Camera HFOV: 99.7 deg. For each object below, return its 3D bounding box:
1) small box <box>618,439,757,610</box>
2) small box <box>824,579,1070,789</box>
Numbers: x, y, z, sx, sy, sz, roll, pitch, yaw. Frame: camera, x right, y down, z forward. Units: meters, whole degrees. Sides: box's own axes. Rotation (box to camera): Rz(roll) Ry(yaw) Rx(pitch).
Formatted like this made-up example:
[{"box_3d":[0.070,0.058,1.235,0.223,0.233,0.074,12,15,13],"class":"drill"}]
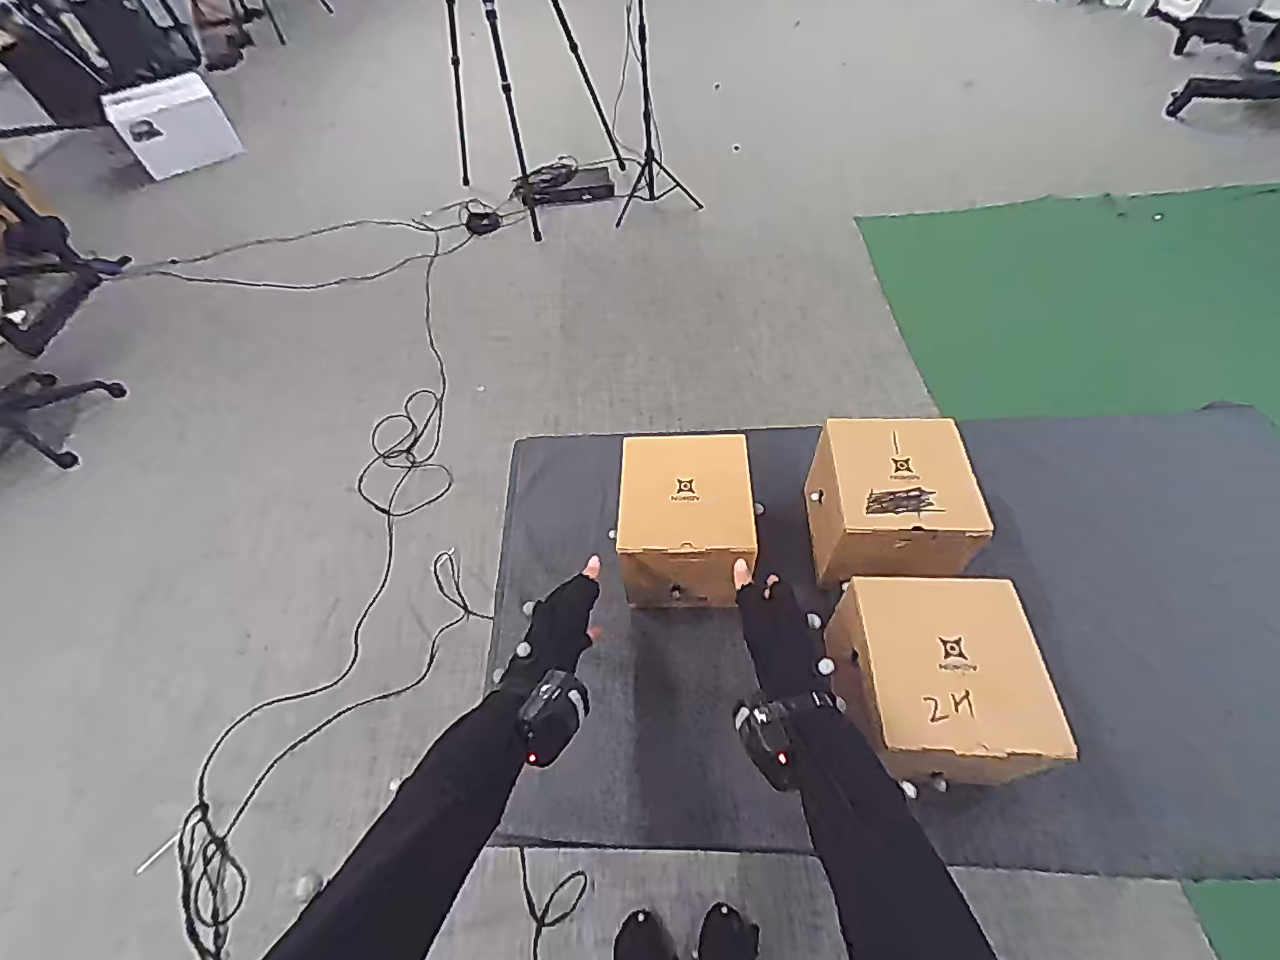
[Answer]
[{"box_3d":[0.062,0.063,0.743,0.168,0.176,0.179,-1,55,4],"class":"small box"},{"box_3d":[0.312,0.228,0.600,0.168,0.176,0.179,0,54,5],"class":"small box"}]
